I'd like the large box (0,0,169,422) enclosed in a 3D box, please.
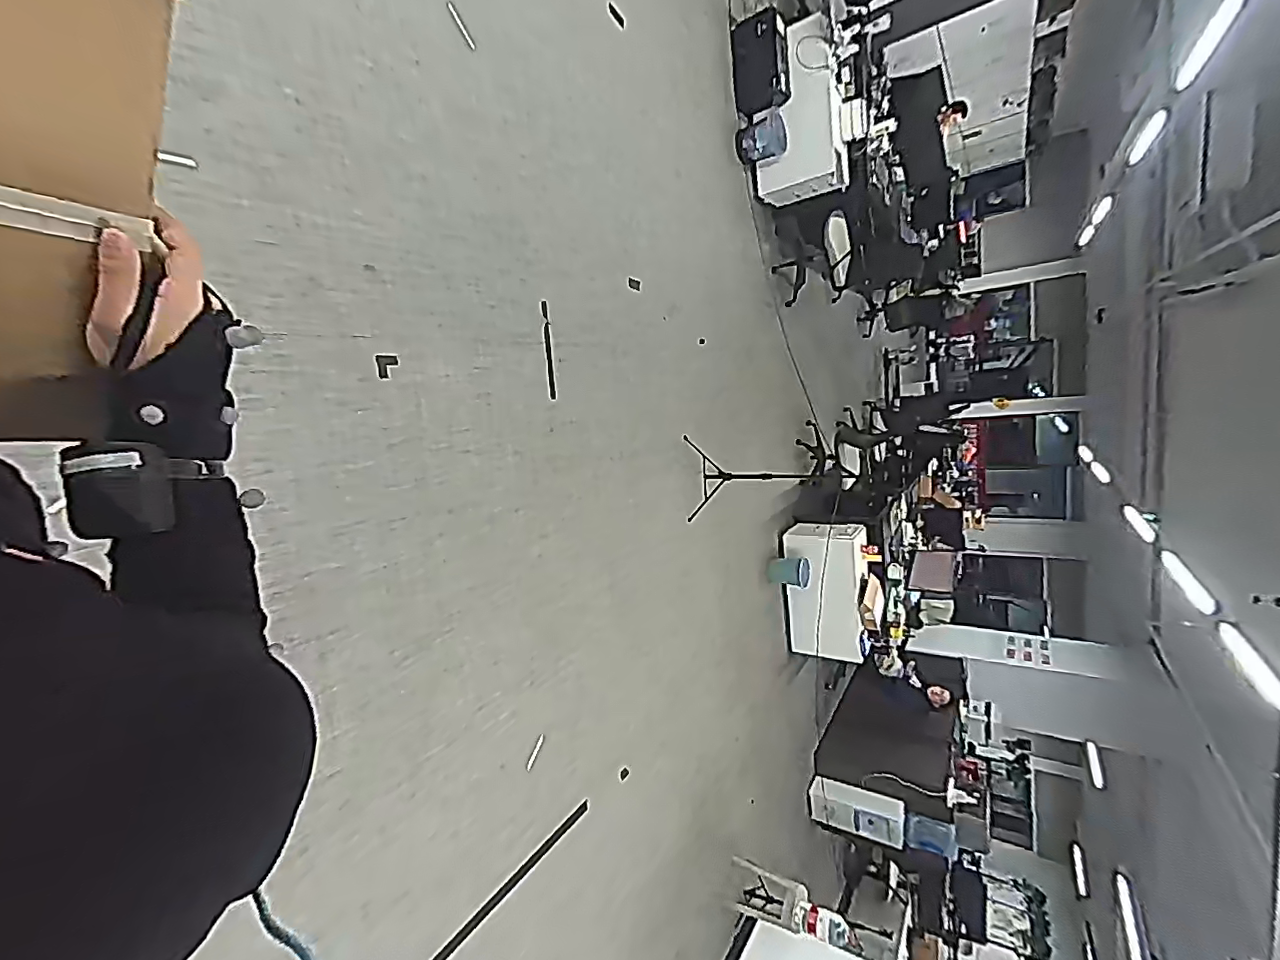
[{"bbox_3d":[-0.540,-0.237,0.255,0.408,0.320,0.320,-8,134,-55],"label":"large box"}]
